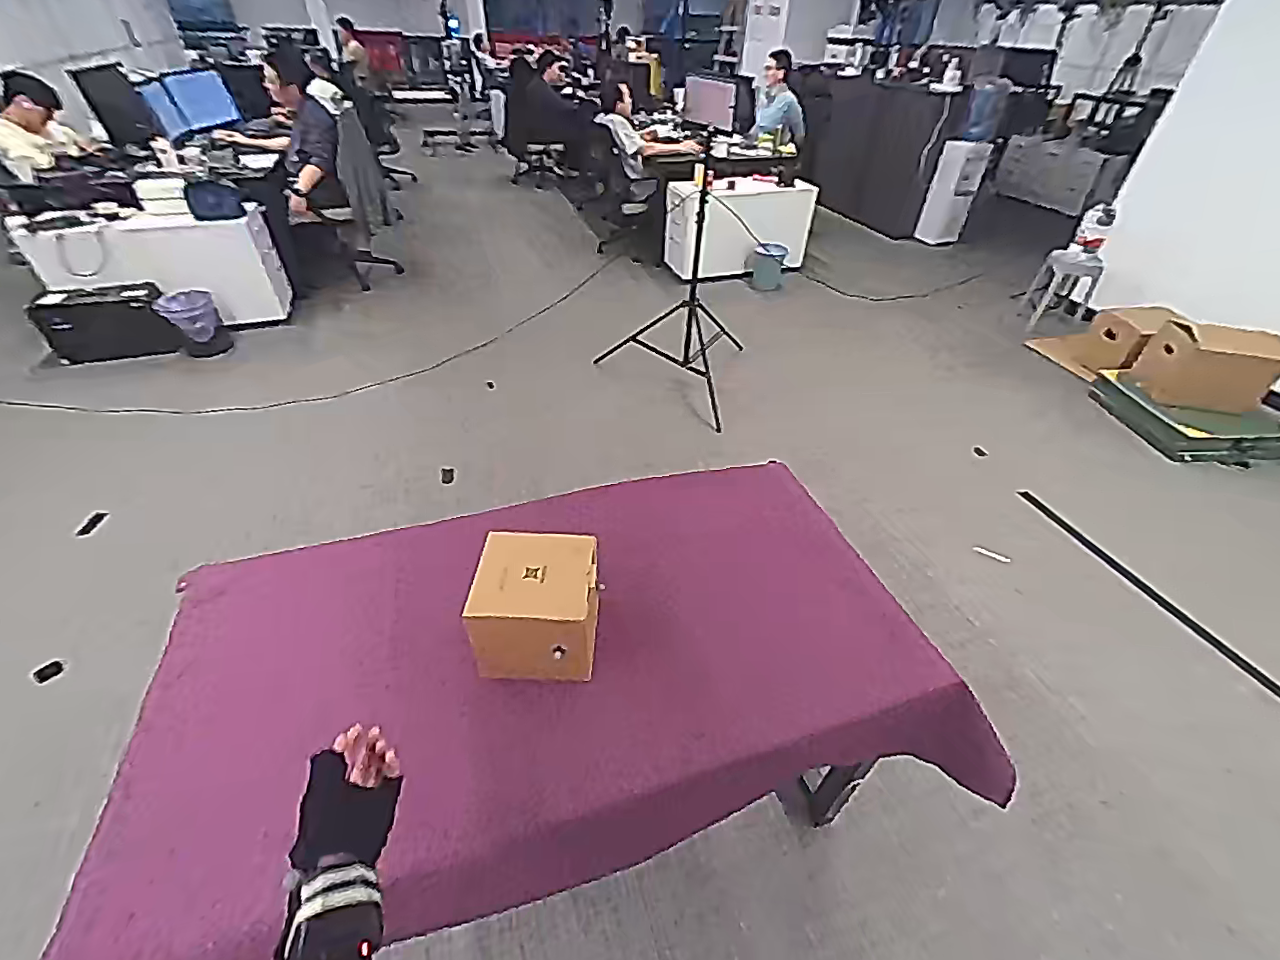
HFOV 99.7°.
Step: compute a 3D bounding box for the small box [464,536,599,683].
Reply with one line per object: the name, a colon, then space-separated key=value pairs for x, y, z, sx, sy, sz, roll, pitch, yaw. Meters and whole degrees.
small box: x=-0.159 y=0.208 z=0.865 sx=0.179 sy=0.176 sz=0.168 roll=1 pitch=39 yaw=1
